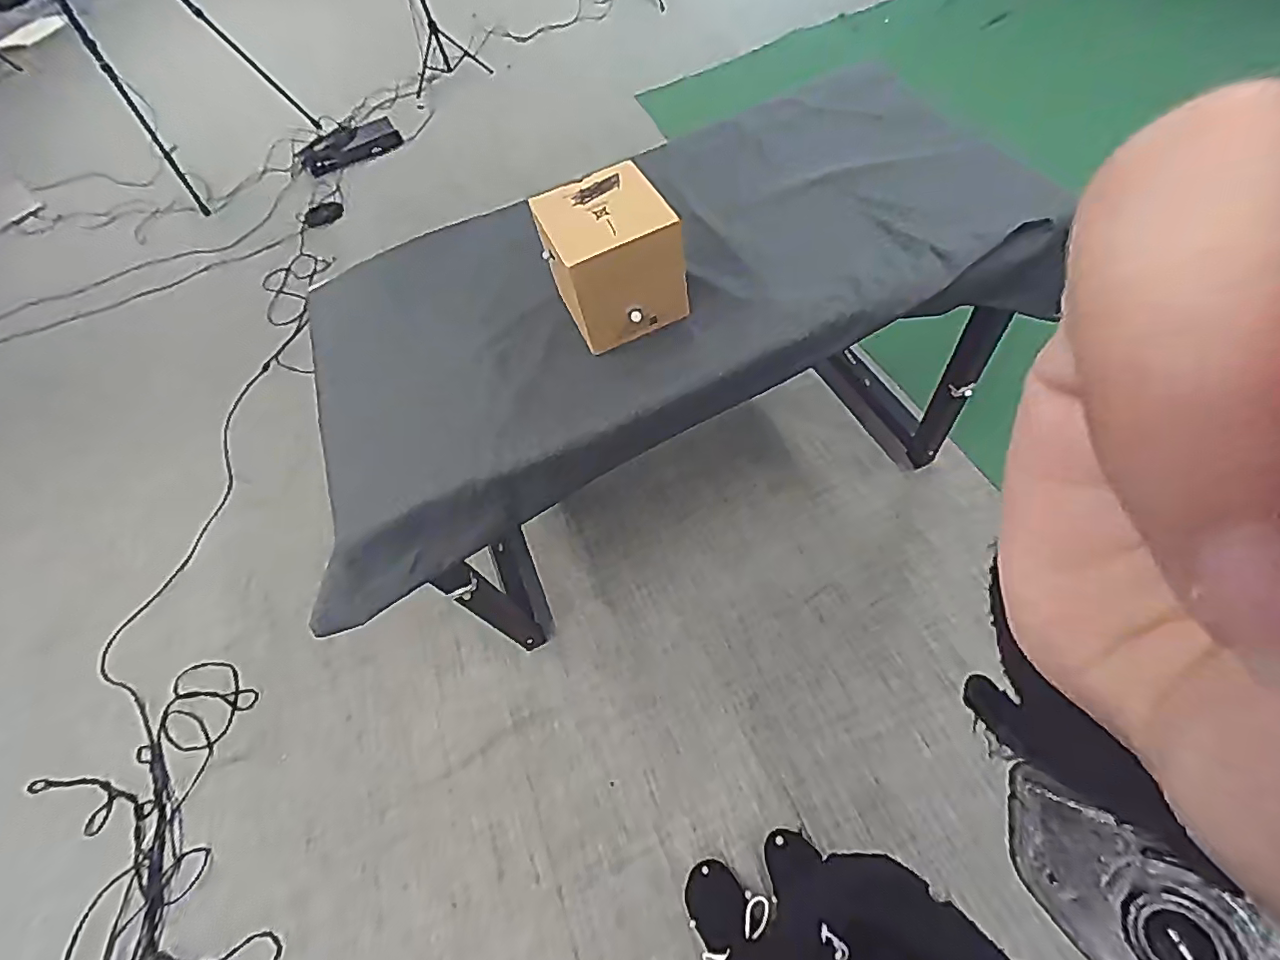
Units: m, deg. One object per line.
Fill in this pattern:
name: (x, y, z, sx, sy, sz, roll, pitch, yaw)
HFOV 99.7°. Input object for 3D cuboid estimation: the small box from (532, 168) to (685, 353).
small box: (-0.043, -0.329, 0.824, 0.168, 0.176, 0.179, -25, 59, -4)
